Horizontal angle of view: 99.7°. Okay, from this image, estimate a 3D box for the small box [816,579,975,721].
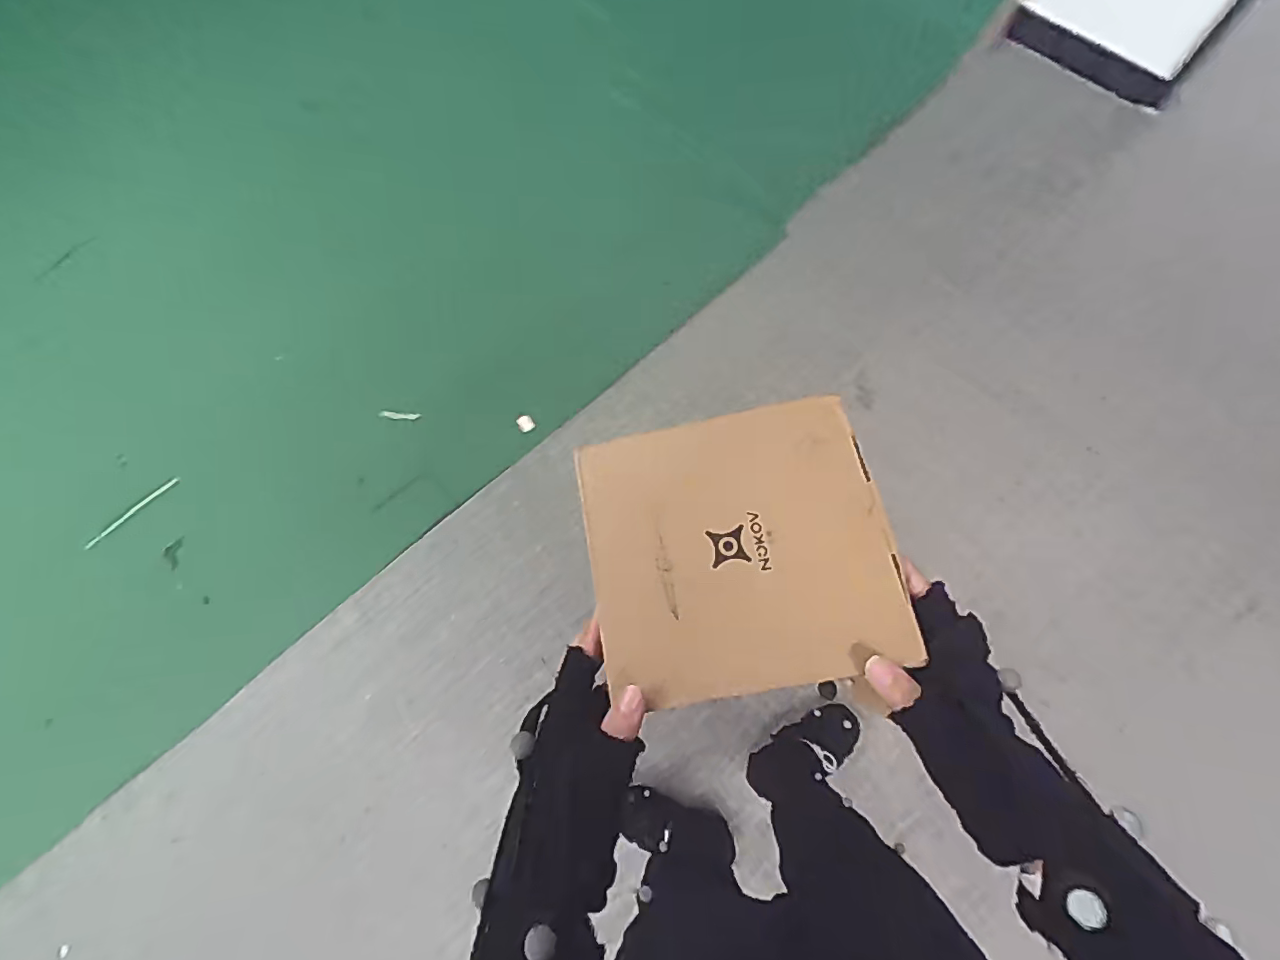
[{"bbox_3d":[0.451,0.302,0.987,0.168,0.176,0.179,-37,73,-4],"label":"small box"}]
